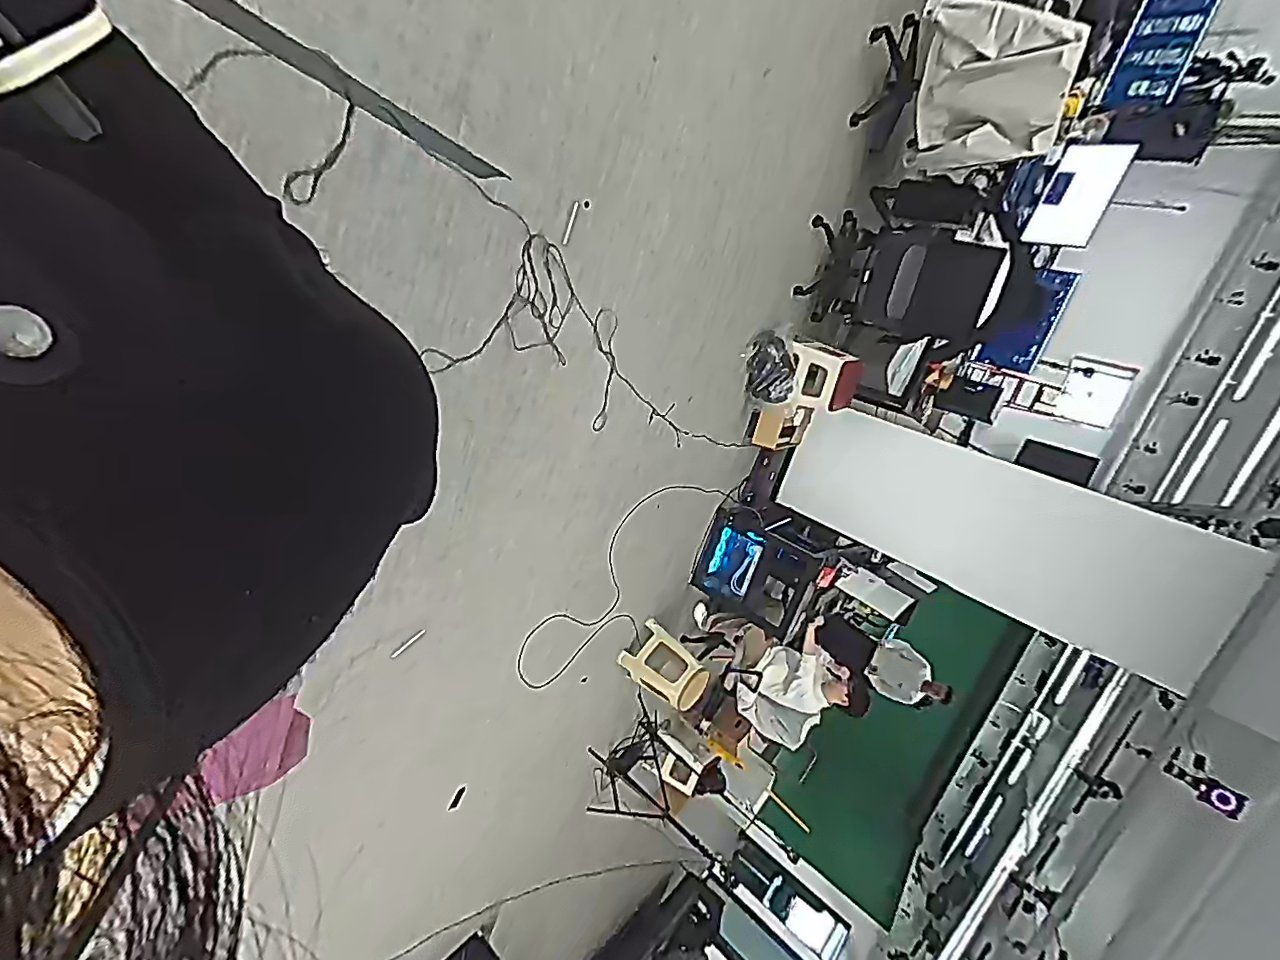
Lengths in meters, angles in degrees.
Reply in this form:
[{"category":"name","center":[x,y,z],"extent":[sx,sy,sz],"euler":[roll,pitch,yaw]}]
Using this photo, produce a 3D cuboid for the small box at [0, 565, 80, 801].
[{"category":"small box","center":[-0.664,0.189,0.494],"extent":[0.179,0.176,0.168],"euler":[8,107,-55]}]
